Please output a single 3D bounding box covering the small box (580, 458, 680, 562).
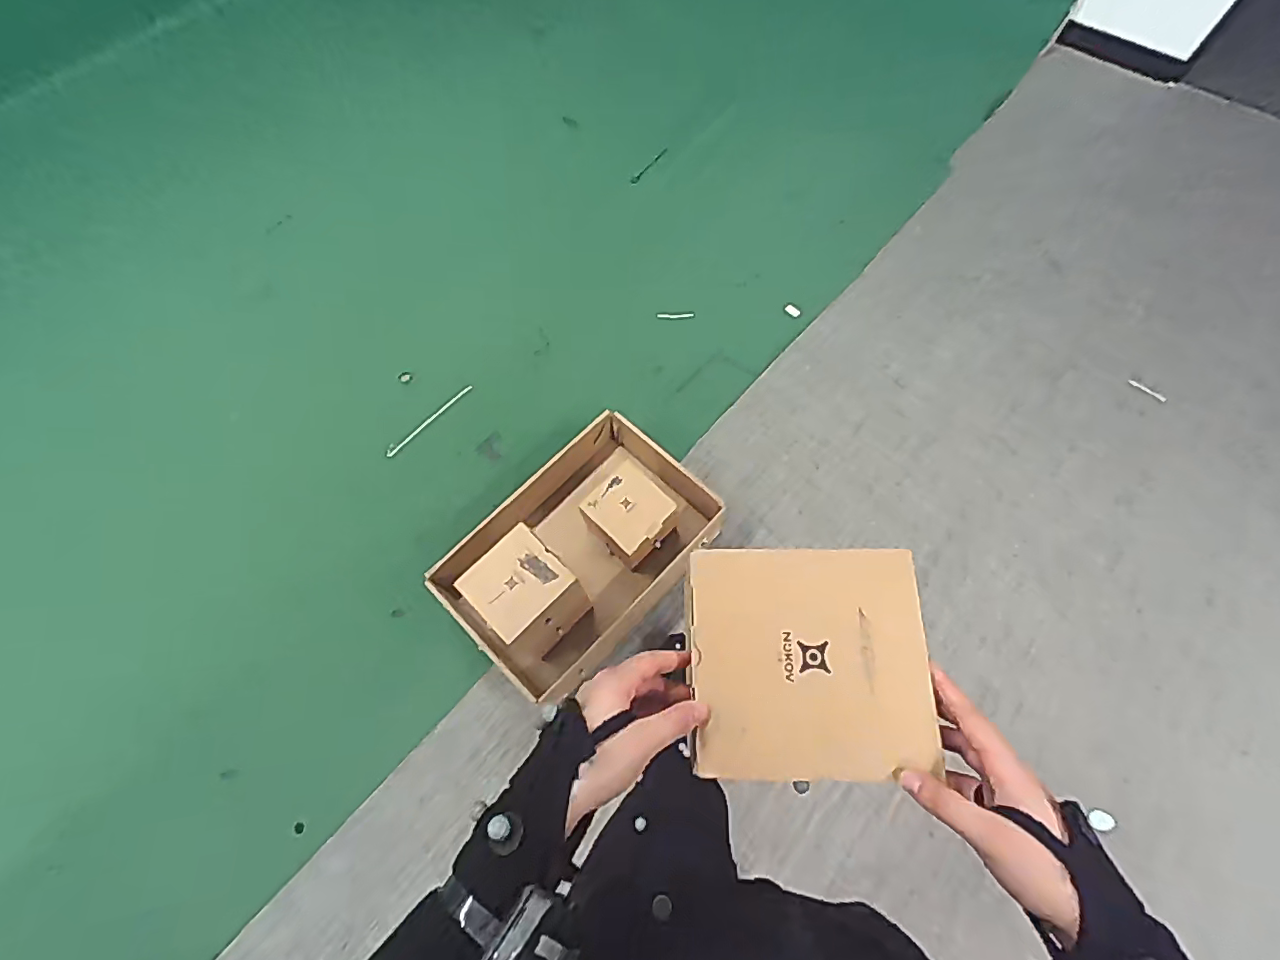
[{"bbox_3d":[-0.021,0.082,1.324,0.168,0.176,0.179,-43,74,-14],"label":"small box"}]

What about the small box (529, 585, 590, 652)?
[{"bbox_3d":[-0.230,0.274,1.244,0.168,0.176,0.179,41,72,15],"label":"small box"}]

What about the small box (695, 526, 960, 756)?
[{"bbox_3d":[0.139,0.140,0.478,0.179,0.176,0.168,-1,72,2],"label":"small box"}]

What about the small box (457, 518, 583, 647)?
[{"bbox_3d":[-0.229,0.212,1.091,0.168,0.176,0.179,42,74,17],"label":"small box"}]
